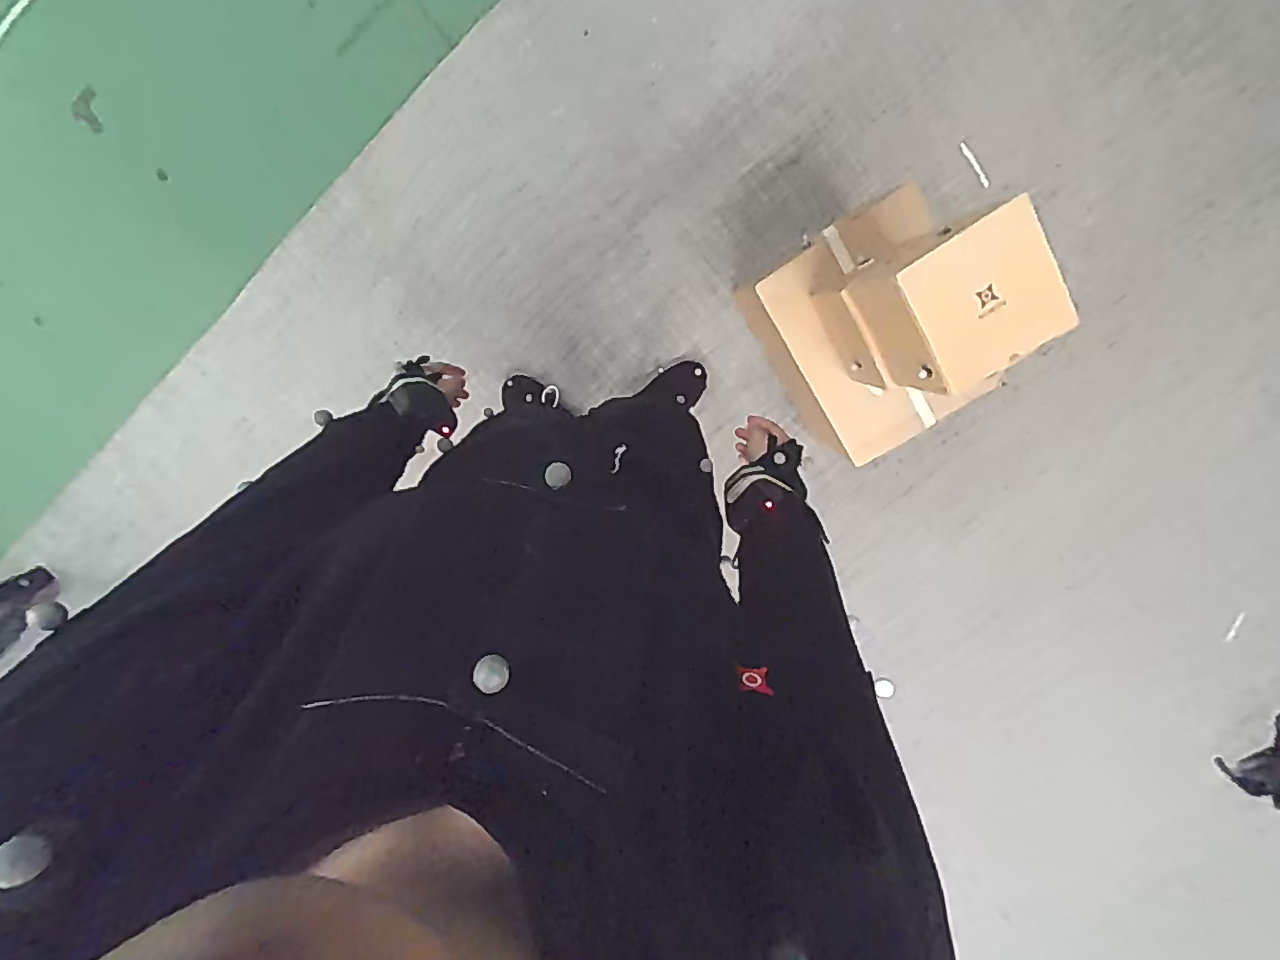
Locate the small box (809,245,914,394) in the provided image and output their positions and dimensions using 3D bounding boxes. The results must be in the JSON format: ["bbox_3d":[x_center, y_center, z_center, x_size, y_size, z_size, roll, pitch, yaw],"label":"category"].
[{"bbox_3d":[0.405,-0.264,0.882,0.168,0.176,0.179,-32,102,8],"label":"small box"}]

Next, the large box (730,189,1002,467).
[{"bbox_3d":[0.437,-0.301,1.123,0.320,0.320,0.408,-32,104,11],"label":"large box"}]

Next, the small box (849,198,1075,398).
[{"bbox_3d":[0.412,-0.232,0.722,0.168,0.176,0.179,-32,104,9],"label":"small box"}]
